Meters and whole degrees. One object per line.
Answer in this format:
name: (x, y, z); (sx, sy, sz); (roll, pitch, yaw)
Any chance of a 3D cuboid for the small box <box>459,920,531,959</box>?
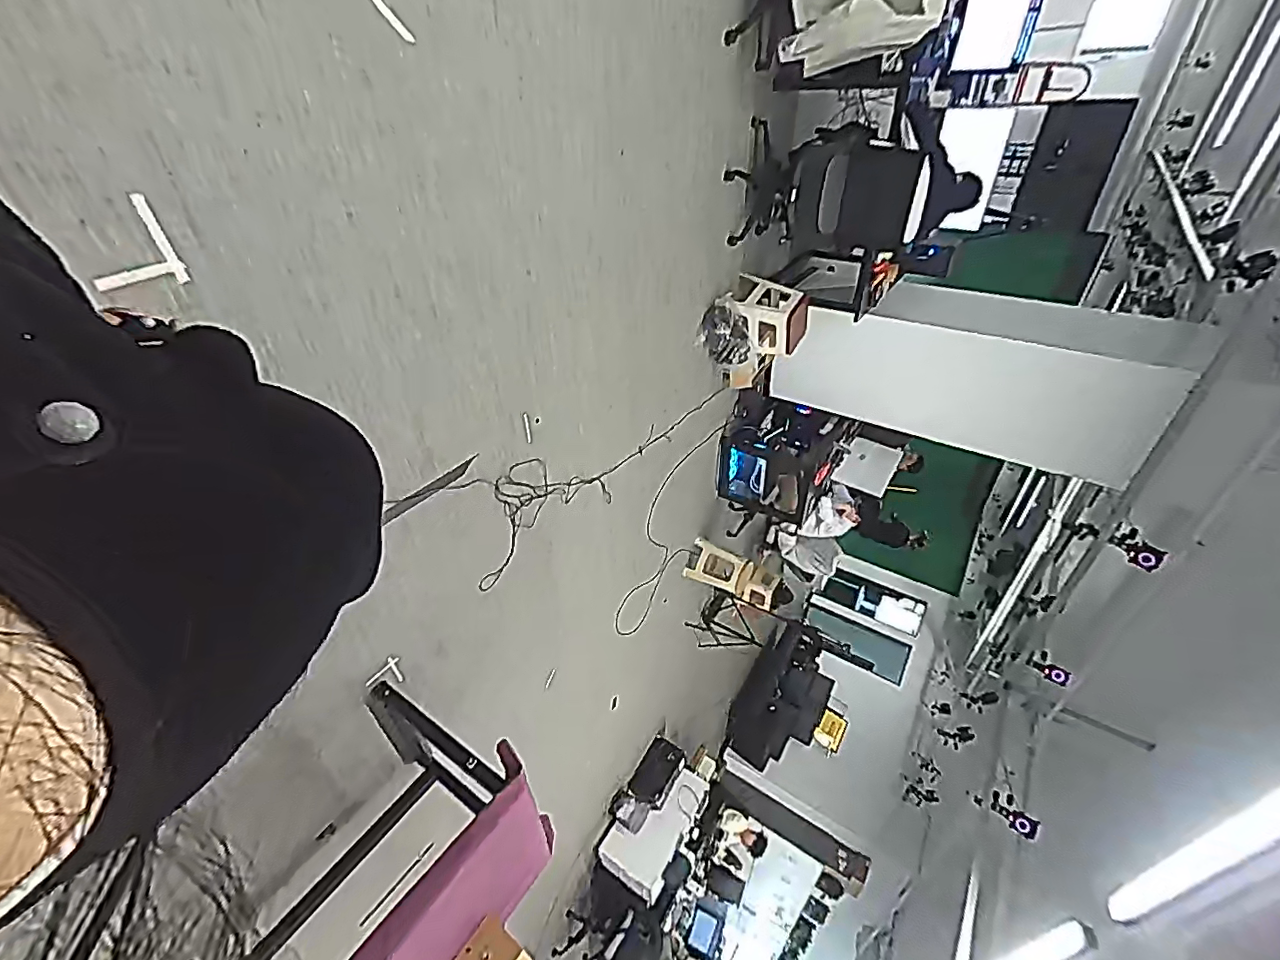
small box: (-0.467, 1.560, 1.726); (0.168, 0.176, 0.179); (-42, 140, -40)
